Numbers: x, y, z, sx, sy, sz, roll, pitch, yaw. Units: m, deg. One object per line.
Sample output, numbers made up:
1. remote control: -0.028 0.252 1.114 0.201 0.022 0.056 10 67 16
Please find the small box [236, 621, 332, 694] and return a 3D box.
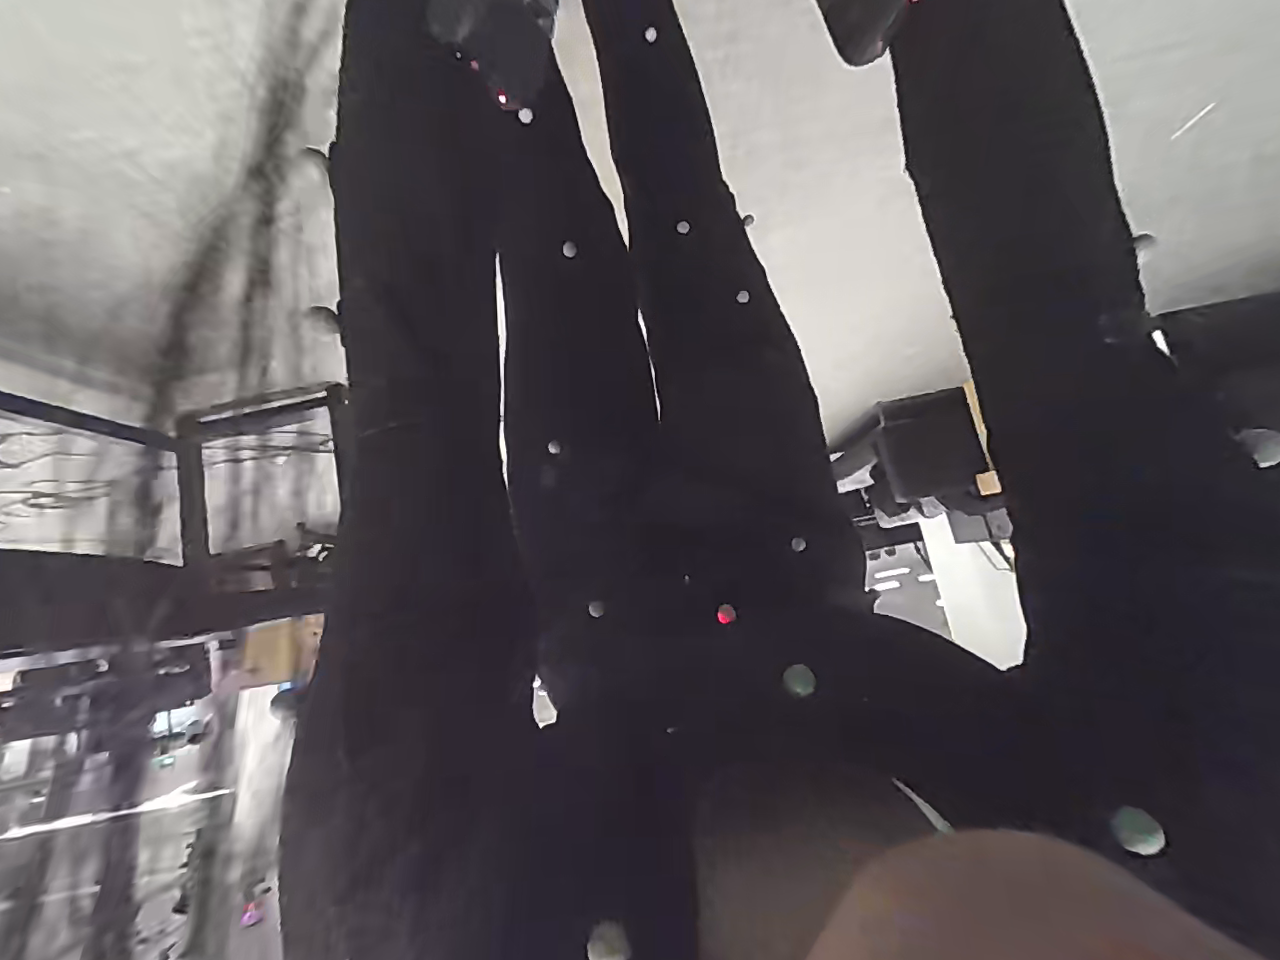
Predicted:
1. small box: -1.029 0.507 1.569 0.179 0.176 0.168 -10 169 2
